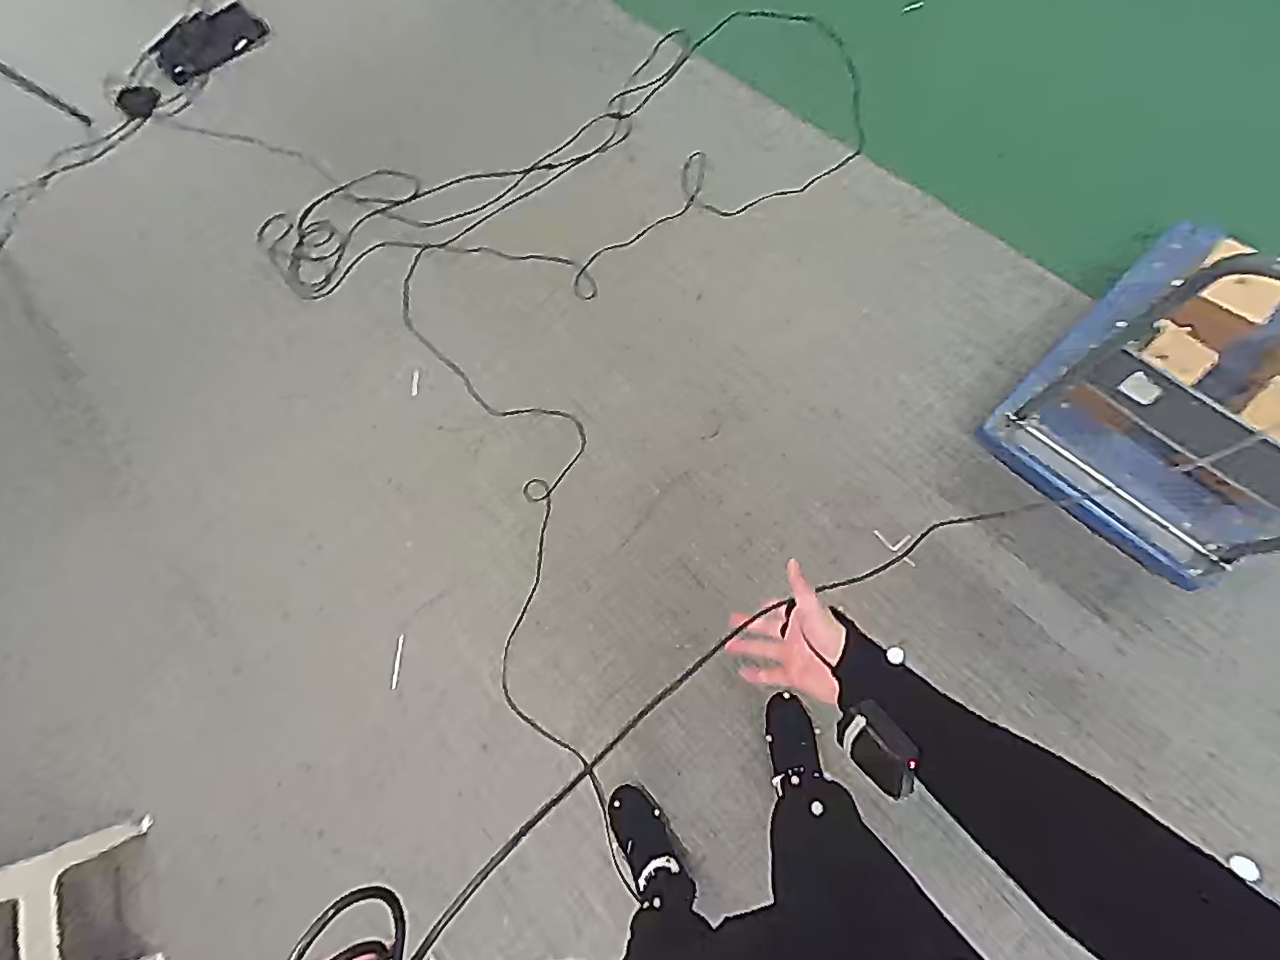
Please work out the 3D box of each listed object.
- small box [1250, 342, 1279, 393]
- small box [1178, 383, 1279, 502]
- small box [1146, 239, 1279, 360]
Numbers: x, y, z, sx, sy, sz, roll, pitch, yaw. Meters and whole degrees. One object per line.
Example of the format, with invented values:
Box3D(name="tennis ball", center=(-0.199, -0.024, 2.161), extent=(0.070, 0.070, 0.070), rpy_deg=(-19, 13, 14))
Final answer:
Box3D(name="small box", center=(1.551, -0.261, 1.205), extent=(0.168, 0.176, 0.179), rpy_deg=(42, 83, 18))
Box3D(name="small box", center=(1.353, -0.080, 1.175), extent=(0.179, 0.176, 0.168), rpy_deg=(-42, 72, -5))
Box3D(name="small box", center=(1.371, -0.419, 1.281), extent=(0.168, 0.176, 0.179), rpy_deg=(42, 82, 17))
